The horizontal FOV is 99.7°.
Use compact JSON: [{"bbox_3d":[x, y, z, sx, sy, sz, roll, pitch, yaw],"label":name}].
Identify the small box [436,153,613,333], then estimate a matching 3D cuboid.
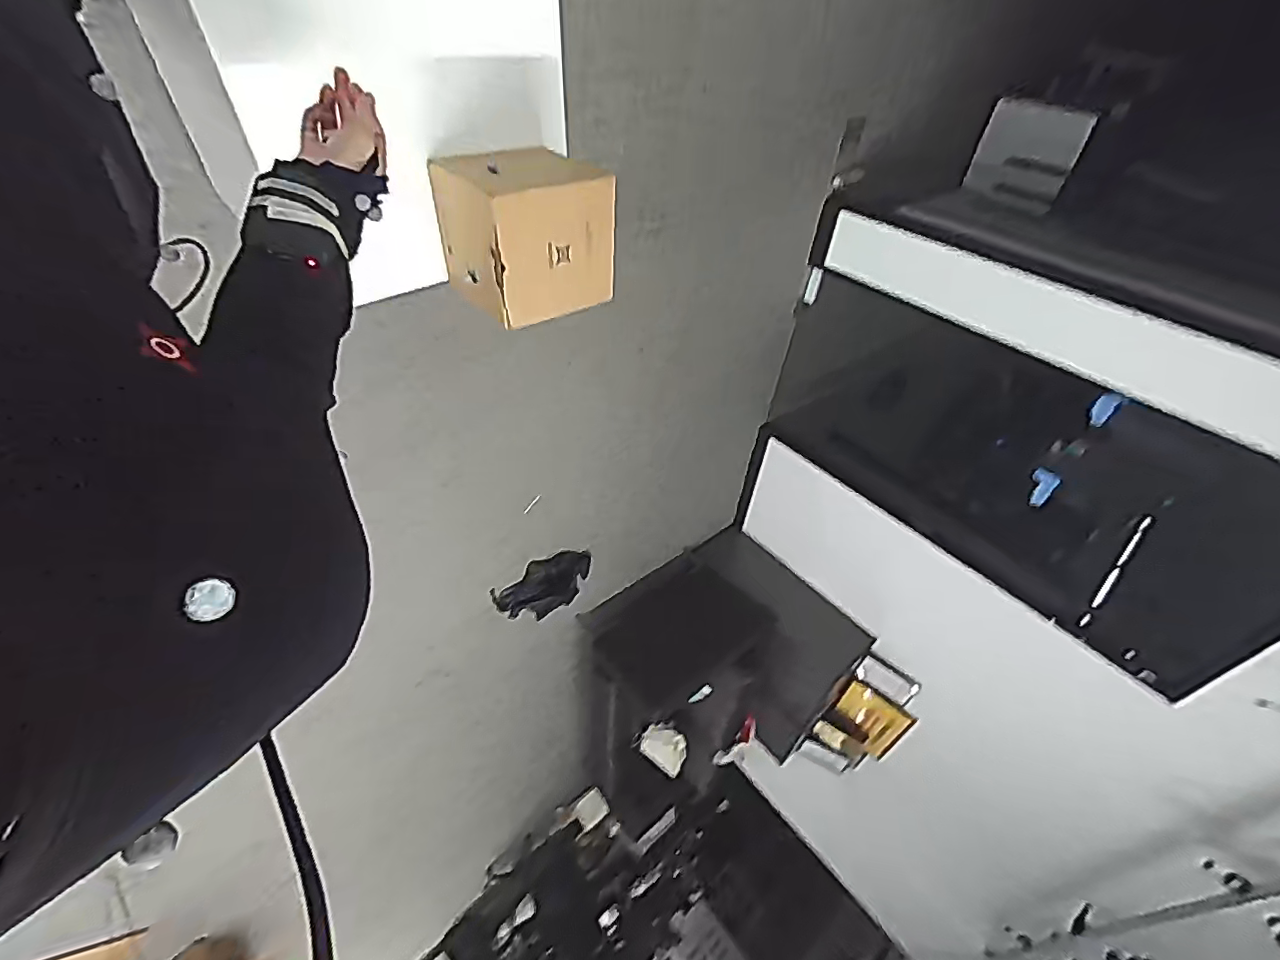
[{"bbox_3d":[-0.157,-0.327,0.733,0.179,0.176,0.168,-29,143,-30],"label":"small box"}]
